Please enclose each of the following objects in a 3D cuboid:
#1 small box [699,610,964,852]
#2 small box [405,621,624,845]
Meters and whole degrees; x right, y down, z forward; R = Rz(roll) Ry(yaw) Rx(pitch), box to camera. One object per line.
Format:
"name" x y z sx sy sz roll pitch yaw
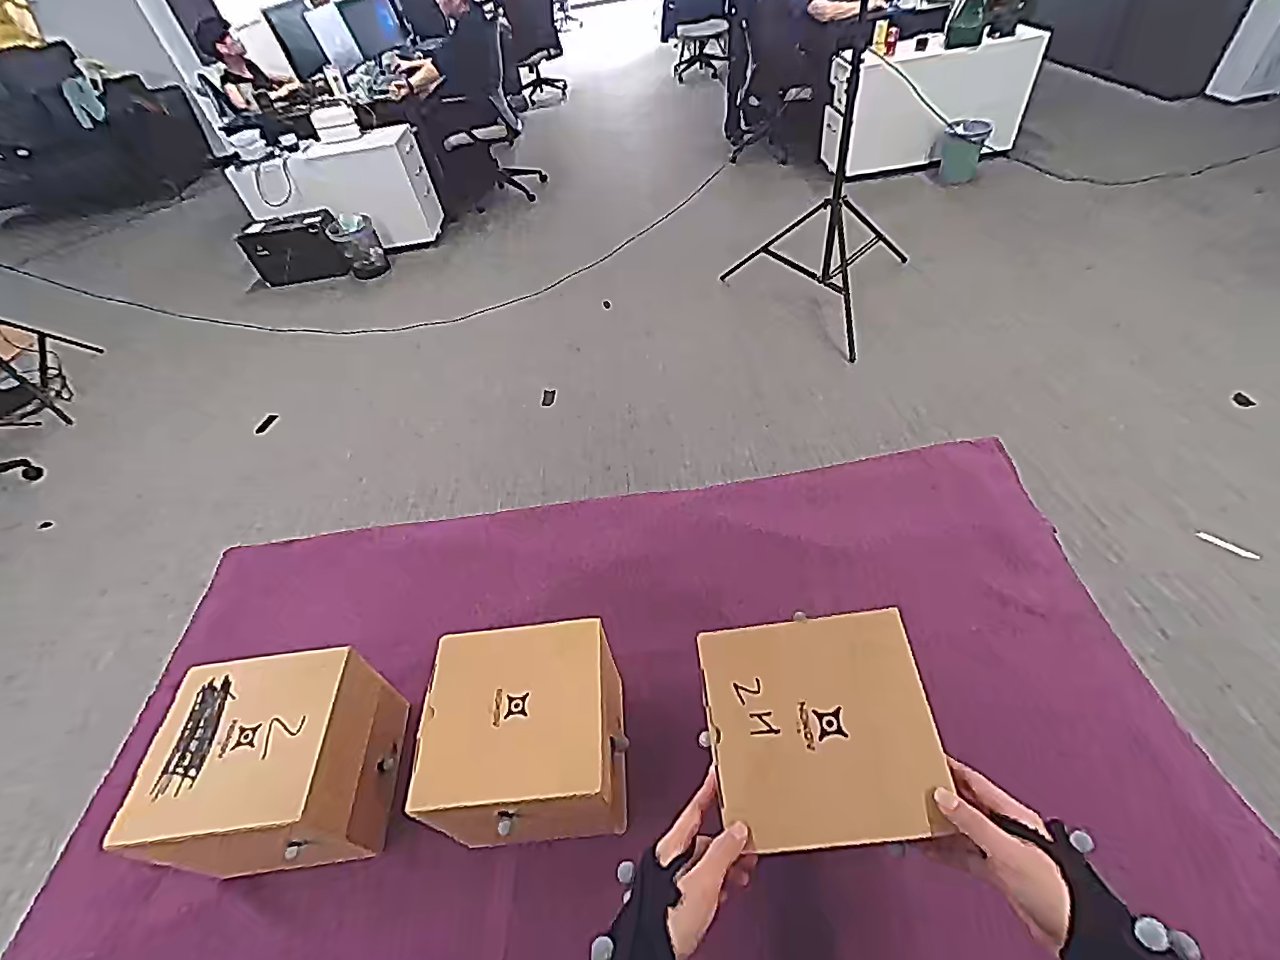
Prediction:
"small box" 0.155 0.229 0.501 0.179 0.176 0.168 -9 61 6
"small box" -0.112 0.270 0.572 0.179 0.176 0.168 -8 47 3
